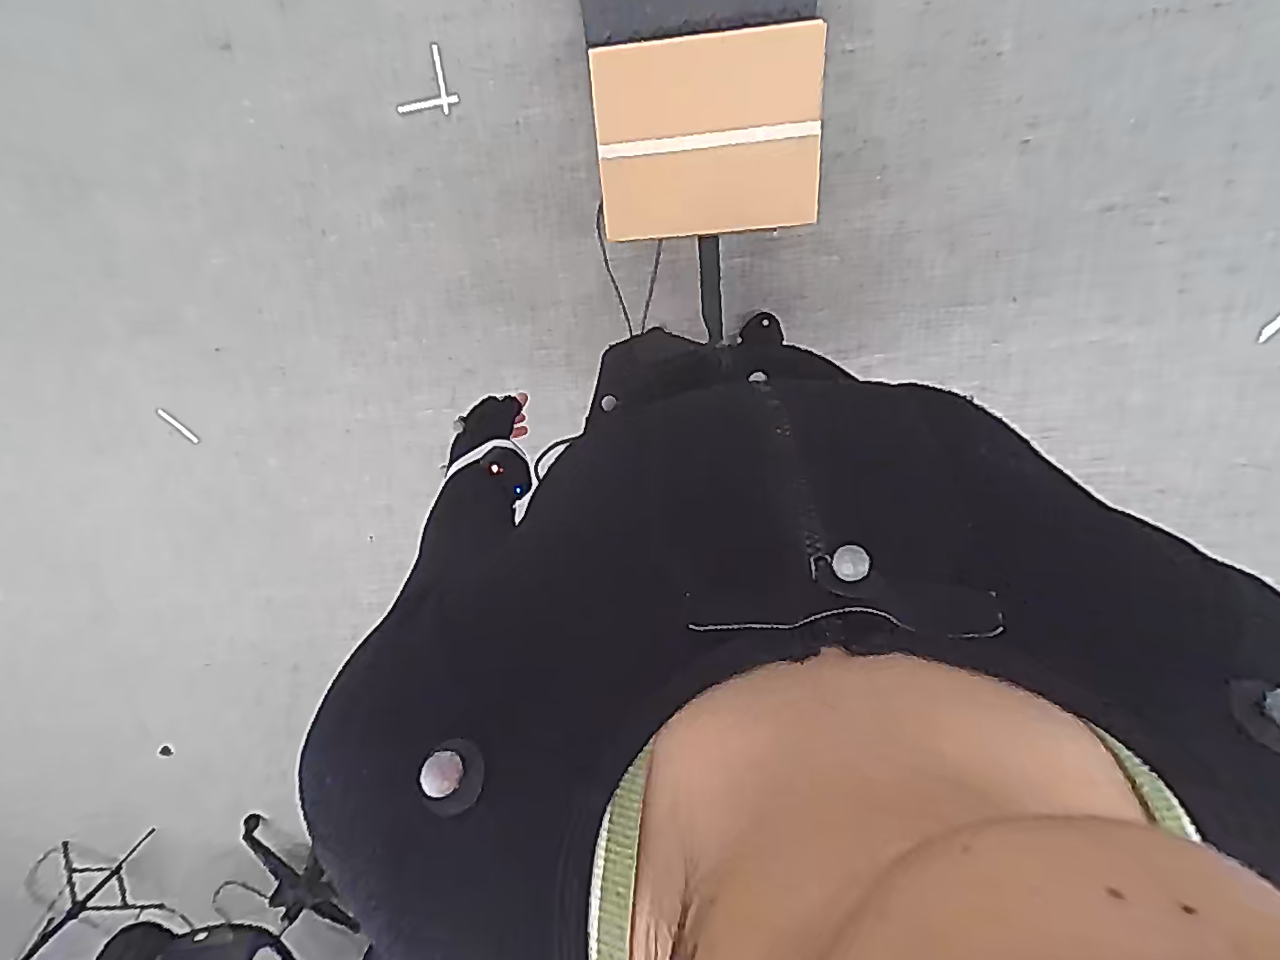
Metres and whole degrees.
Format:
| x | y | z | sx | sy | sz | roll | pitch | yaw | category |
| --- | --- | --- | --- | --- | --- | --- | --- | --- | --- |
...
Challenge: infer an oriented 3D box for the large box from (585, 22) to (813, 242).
| x | y | z | sx | sy | sz | roll | pitch | yaw | category |
| --- | --- | --- | --- | --- | --- | --- | --- | --- | --- |
| 0.124 | -0.685 | 1.126 | 0.408 | 0.320 | 0.320 | -2 | 113 | 6 | large box |

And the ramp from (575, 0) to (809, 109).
| x | y | z | sx | sy | sz | roll | pitch | yaw | category |
| --- | --- | --- | --- | --- | --- | --- | --- | --- | --- |
| 0.077 | -1.244 | 1.005 | 0.509 | 0.206 | 0.991 | -6 | 109 | 6 | ramp |
